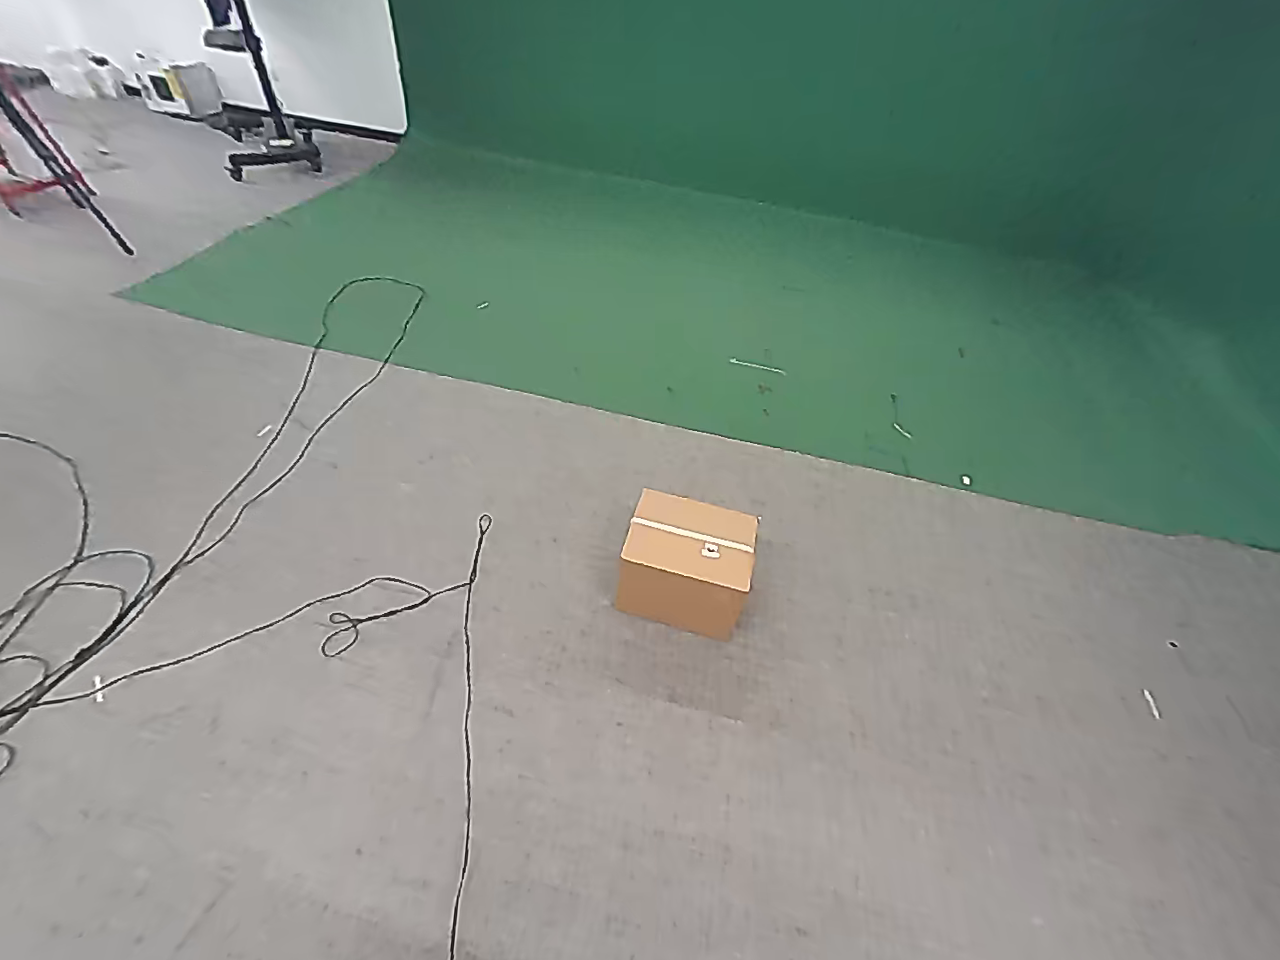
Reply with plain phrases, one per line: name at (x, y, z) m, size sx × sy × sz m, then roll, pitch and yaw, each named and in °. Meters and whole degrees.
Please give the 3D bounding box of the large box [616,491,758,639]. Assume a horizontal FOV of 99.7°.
large box at (0.154, 0.290, 1.843) m, size 0.408 × 0.320 × 0.320 m, roll 15°, pitch 46°, yaw 5°
